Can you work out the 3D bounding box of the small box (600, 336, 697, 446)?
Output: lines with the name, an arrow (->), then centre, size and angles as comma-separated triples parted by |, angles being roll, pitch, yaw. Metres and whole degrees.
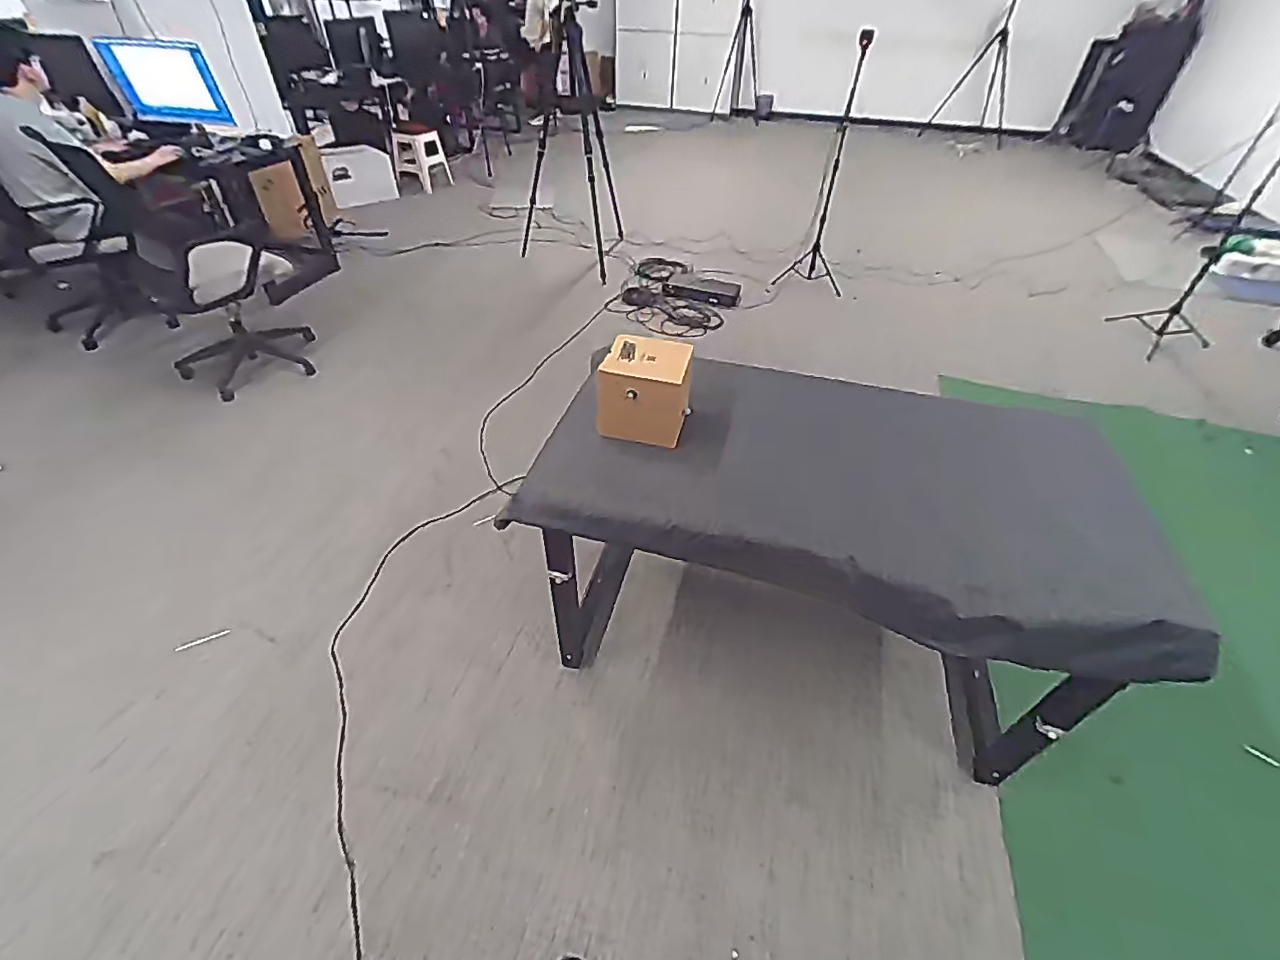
small box -> 0.018, -0.194, 1.192 | 0.179, 0.176, 0.168 | 11, 44, 8
